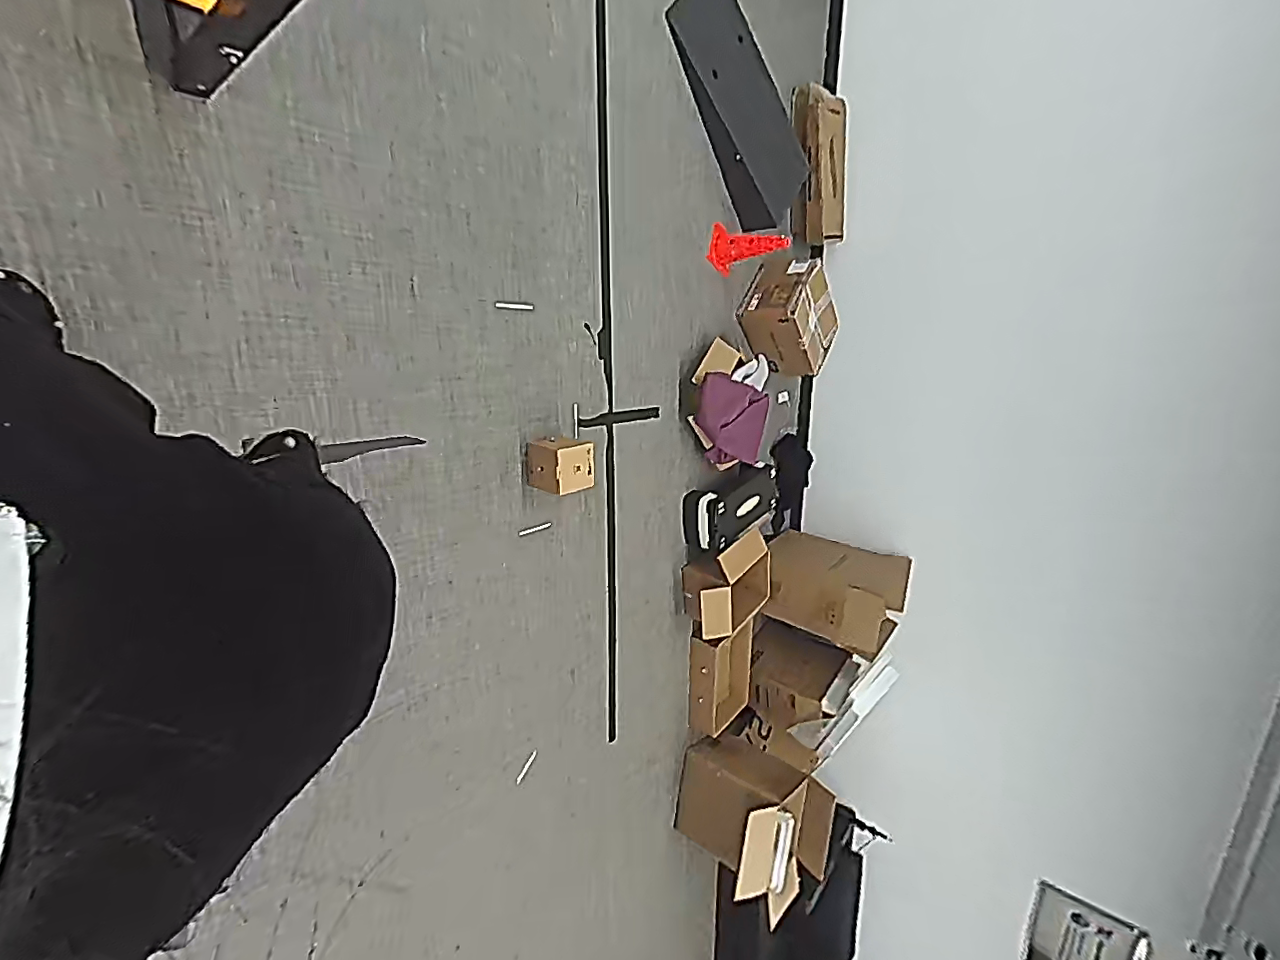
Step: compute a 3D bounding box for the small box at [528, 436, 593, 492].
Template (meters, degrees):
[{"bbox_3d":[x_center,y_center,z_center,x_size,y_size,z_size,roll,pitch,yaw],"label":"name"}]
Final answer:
[{"bbox_3d":[-0.293,-0.062,1.964,0.179,0.176,0.168,-16,112,-47],"label":"small box"}]
